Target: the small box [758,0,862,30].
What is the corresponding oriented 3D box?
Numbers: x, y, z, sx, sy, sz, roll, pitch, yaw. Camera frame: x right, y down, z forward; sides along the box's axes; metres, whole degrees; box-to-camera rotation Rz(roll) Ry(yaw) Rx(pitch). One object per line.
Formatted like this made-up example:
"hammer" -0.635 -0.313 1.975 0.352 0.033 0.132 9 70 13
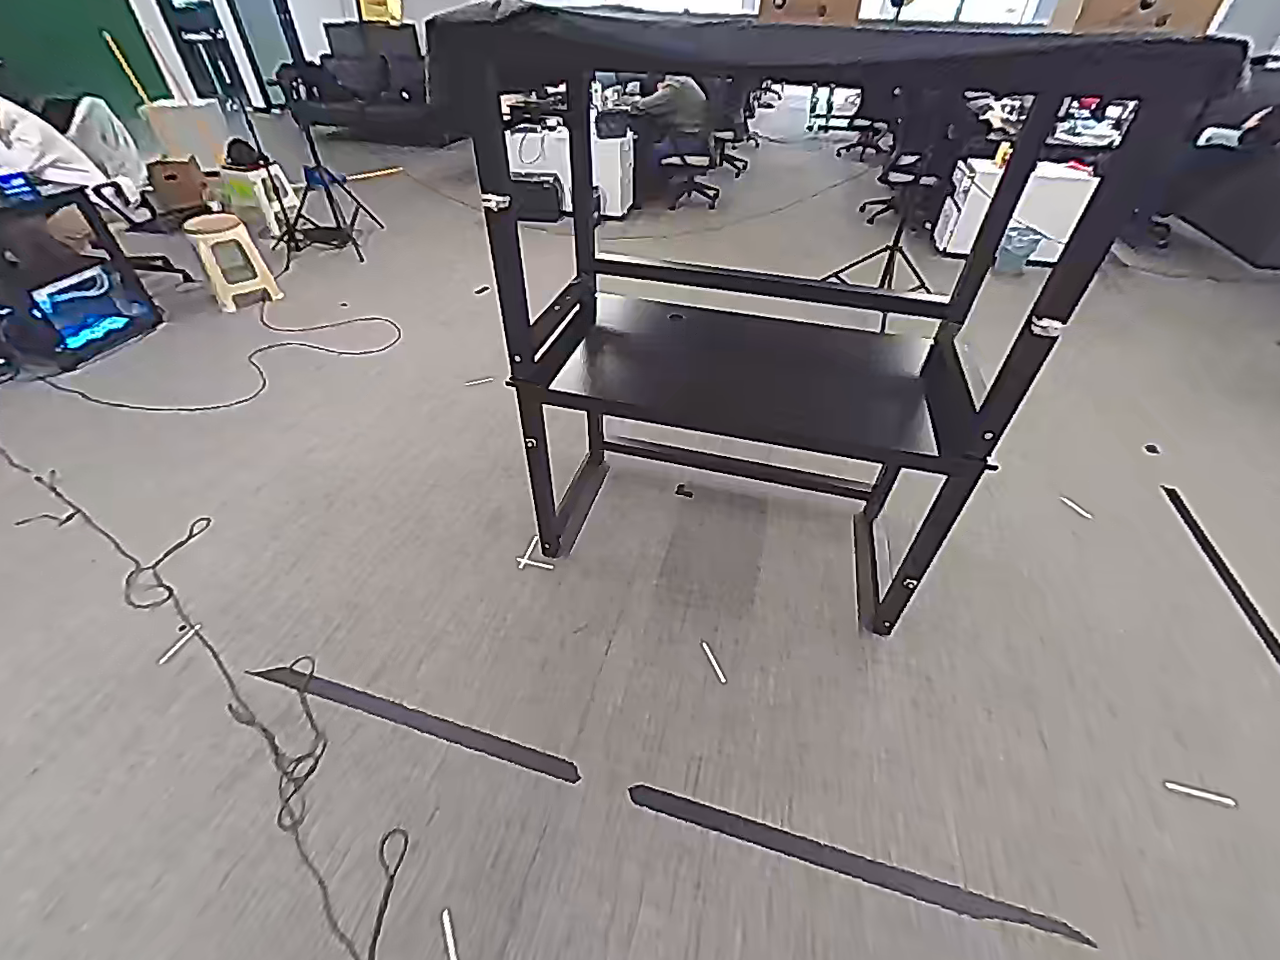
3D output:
"small box" 0.297 -0.869 0.907 0.168 0.176 0.179 11 41 10
